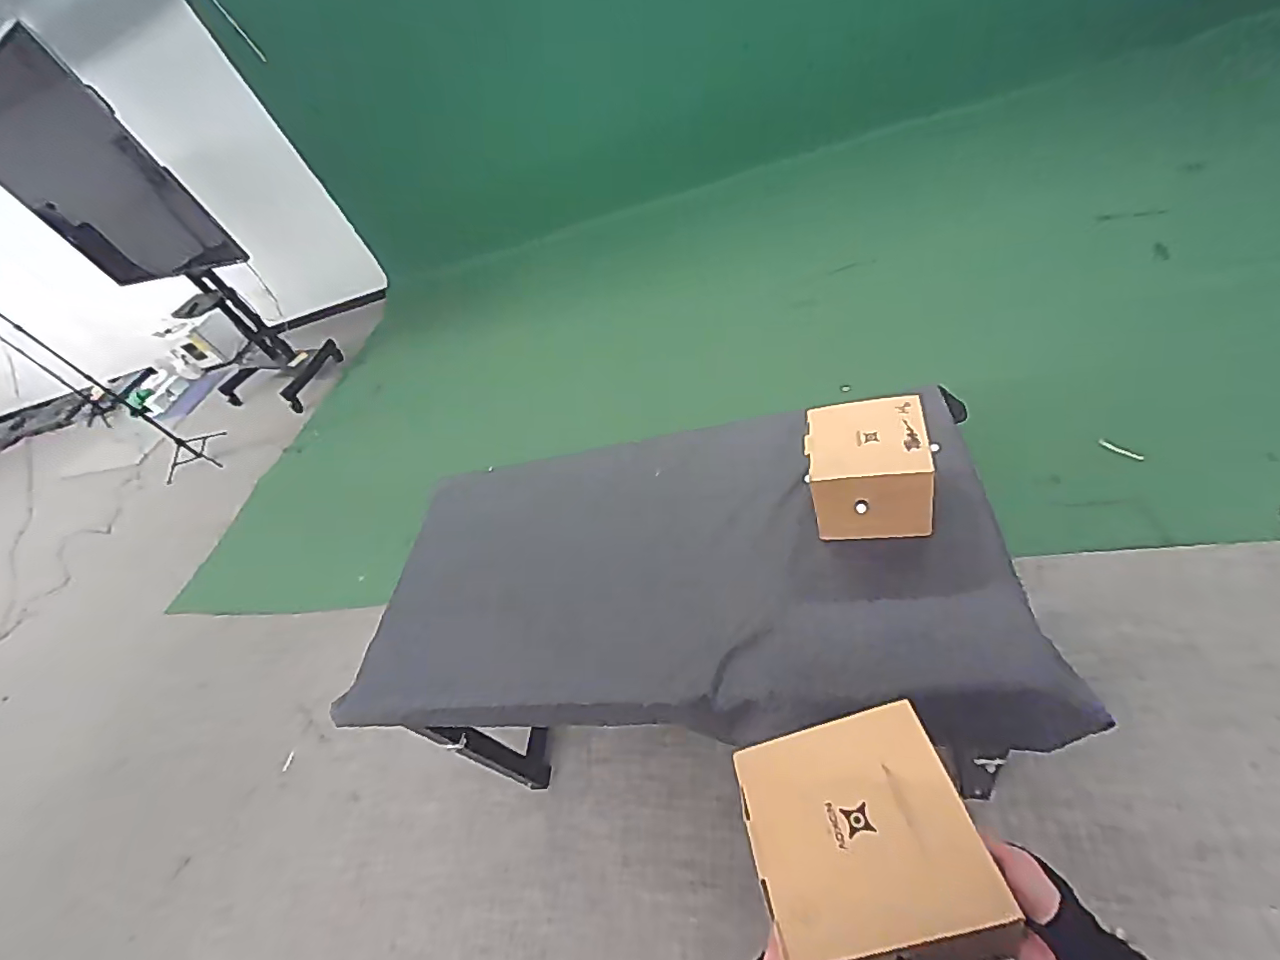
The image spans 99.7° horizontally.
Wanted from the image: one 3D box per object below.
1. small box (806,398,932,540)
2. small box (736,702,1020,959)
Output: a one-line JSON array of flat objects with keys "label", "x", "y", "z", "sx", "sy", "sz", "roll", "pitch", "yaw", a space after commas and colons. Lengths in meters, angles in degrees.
[{"label": "small box", "x": 0.384, "y": -0.011, "z": 0.911, "sx": 0.179, "sy": 0.176, "sz": 0.168, "roll": -6, "pitch": 49, "yaw": 23}, {"label": "small box", "x": 0.211, "y": 0.342, "z": 0.500, "sx": 0.179, "sy": 0.176, "sz": 0.168, "roll": -21, "pitch": 39, "yaw": 8}]
